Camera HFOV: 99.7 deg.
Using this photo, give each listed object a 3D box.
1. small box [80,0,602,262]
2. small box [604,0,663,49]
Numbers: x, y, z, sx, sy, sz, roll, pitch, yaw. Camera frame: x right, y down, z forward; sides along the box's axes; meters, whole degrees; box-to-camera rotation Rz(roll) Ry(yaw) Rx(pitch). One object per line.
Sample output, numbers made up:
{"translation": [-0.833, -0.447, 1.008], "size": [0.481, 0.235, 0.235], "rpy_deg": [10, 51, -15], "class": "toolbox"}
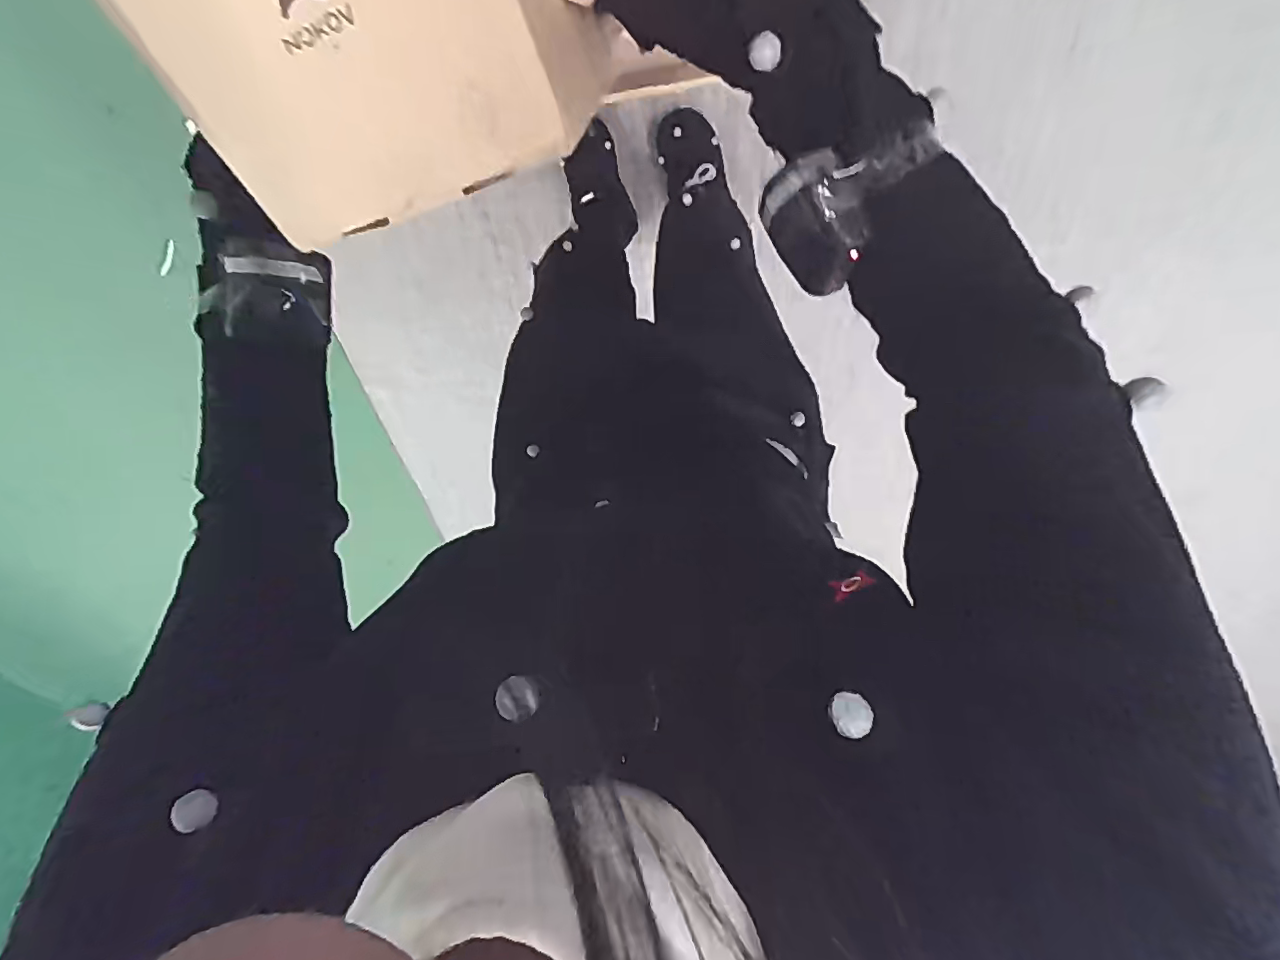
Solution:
{"translation": [-0.129, -0.244, 0.265], "size": [0.168, 0.176, 0.179], "rpy_deg": [-11, 133, 17], "class": "small box"}
{"translation": [-0.057, -0.769, 0.825], "size": [0.179, 0.176, 0.168], "rpy_deg": [-1, 131, 9], "class": "small box"}
